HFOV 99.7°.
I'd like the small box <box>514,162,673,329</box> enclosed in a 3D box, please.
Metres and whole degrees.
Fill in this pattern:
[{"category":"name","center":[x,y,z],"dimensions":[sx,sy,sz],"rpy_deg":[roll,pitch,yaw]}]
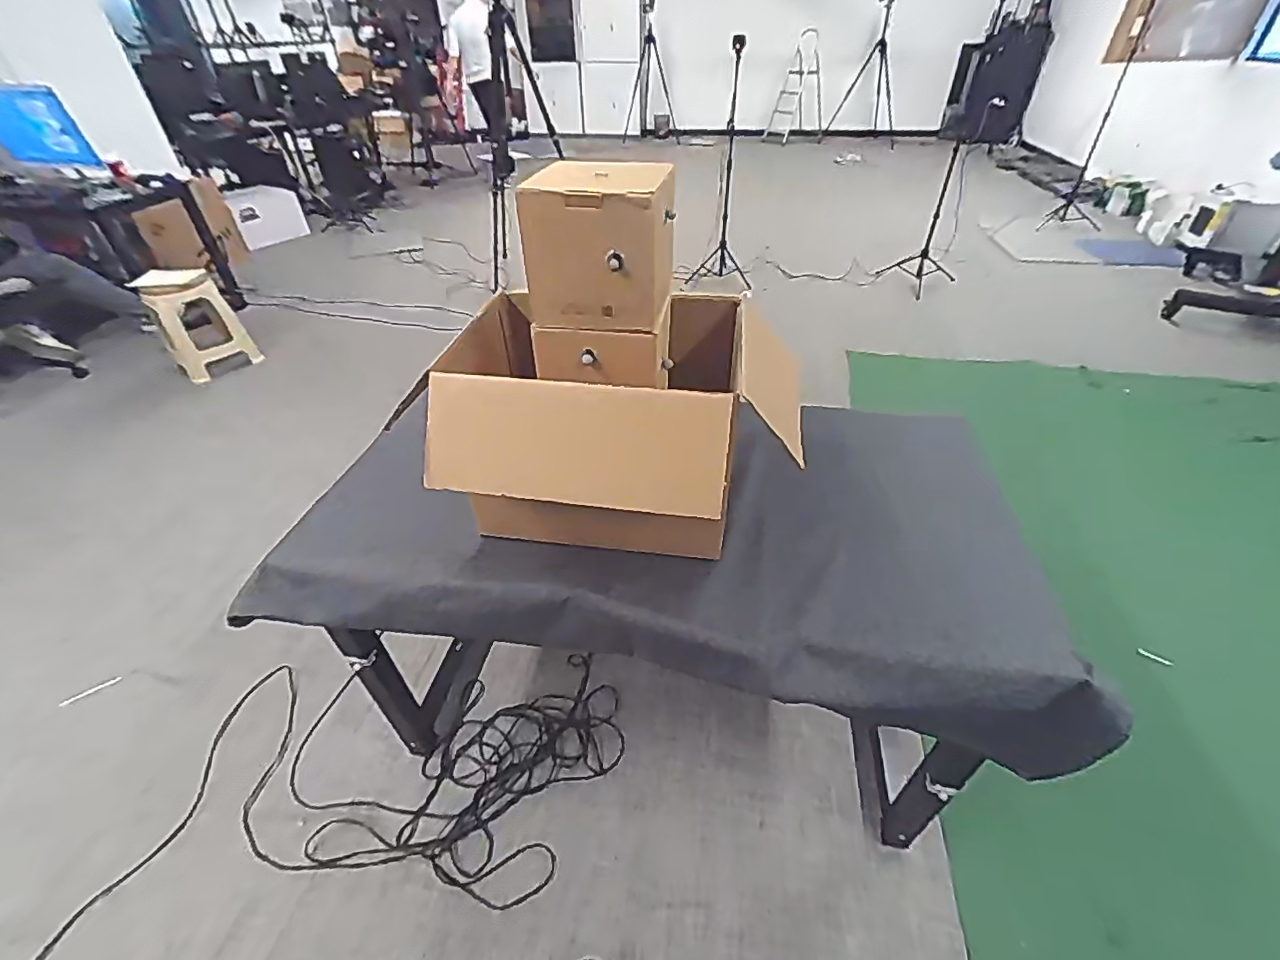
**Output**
[{"category":"small box","center":[-0.050,-0.314,0.723],"dimensions":[0.168,0.176,0.179],"rpy_deg":[7,39,8]}]

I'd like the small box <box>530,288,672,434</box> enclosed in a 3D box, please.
[{"category":"small box","center":[-0.048,-0.185,0.821],"dimensions":[0.179,0.176,0.168],"rpy_deg":[5,40,7]}]
